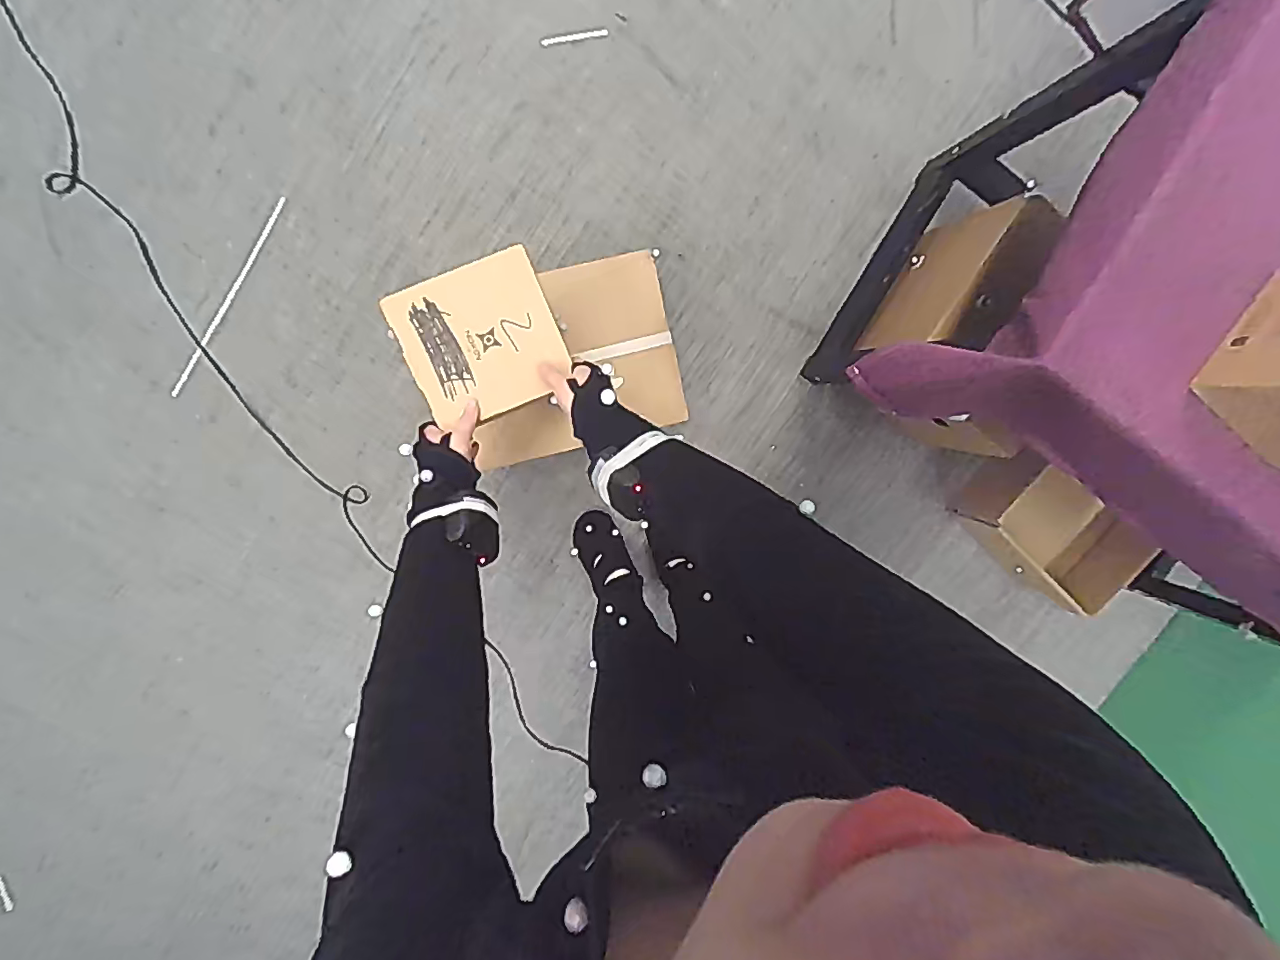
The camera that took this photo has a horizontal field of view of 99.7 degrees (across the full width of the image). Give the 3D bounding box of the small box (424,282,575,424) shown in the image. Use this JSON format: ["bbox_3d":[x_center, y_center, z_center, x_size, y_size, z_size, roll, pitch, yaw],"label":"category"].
[{"bbox_3d":[-0.211,-0.197,0.858,0.179,0.176,0.168,-18,101,-3],"label":"small box"}]

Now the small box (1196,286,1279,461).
[{"bbox_3d":[0.765,-0.115,0.567,0.179,0.176,0.168,34,95,-11],"label":"small box"}]

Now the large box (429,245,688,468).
[{"bbox_3d":[-0.155,-0.242,1.108,0.408,0.320,0.320,-15,103,-5],"label":"large box"}]
